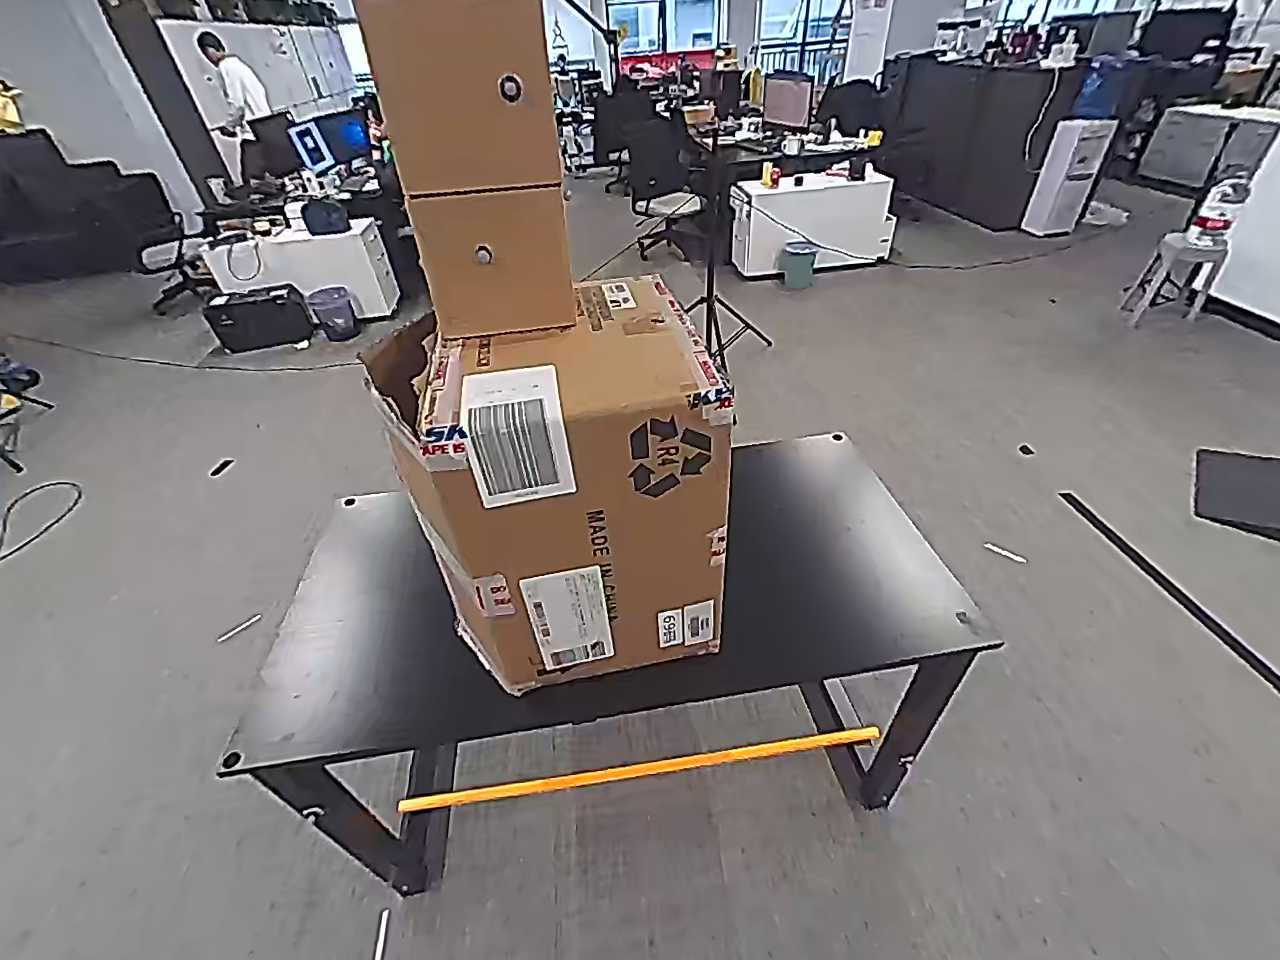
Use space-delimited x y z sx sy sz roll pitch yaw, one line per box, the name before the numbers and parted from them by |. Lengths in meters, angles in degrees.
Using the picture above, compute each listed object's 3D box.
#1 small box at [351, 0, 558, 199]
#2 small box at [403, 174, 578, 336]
small box | -0.192 -0.428 0.610 0.179 0.176 0.168 -11 37 -9
small box | -0.185 -0.301 0.712 0.179 0.176 0.168 -10 38 -7
